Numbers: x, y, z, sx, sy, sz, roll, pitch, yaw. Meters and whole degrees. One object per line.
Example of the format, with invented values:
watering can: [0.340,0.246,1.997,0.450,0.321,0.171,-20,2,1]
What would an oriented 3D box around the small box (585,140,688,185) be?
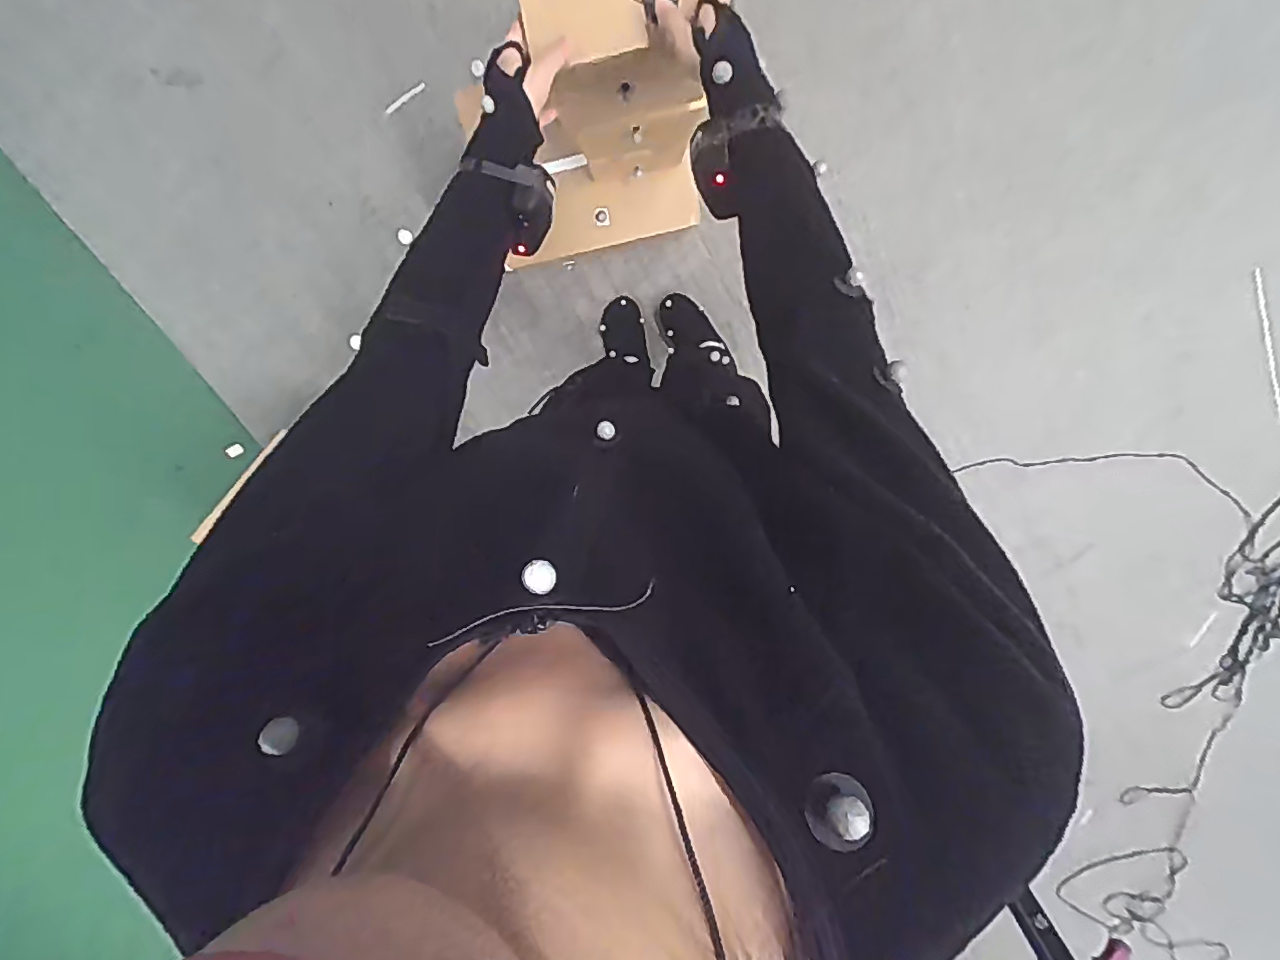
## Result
small box: [-0.020,-0.618,0.903,0.168,0.176,0.179,-10,109,4]

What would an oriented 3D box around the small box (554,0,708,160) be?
small box: [-0.010,-0.564,0.749,0.179,0.176,0.168,-9,109,3]
